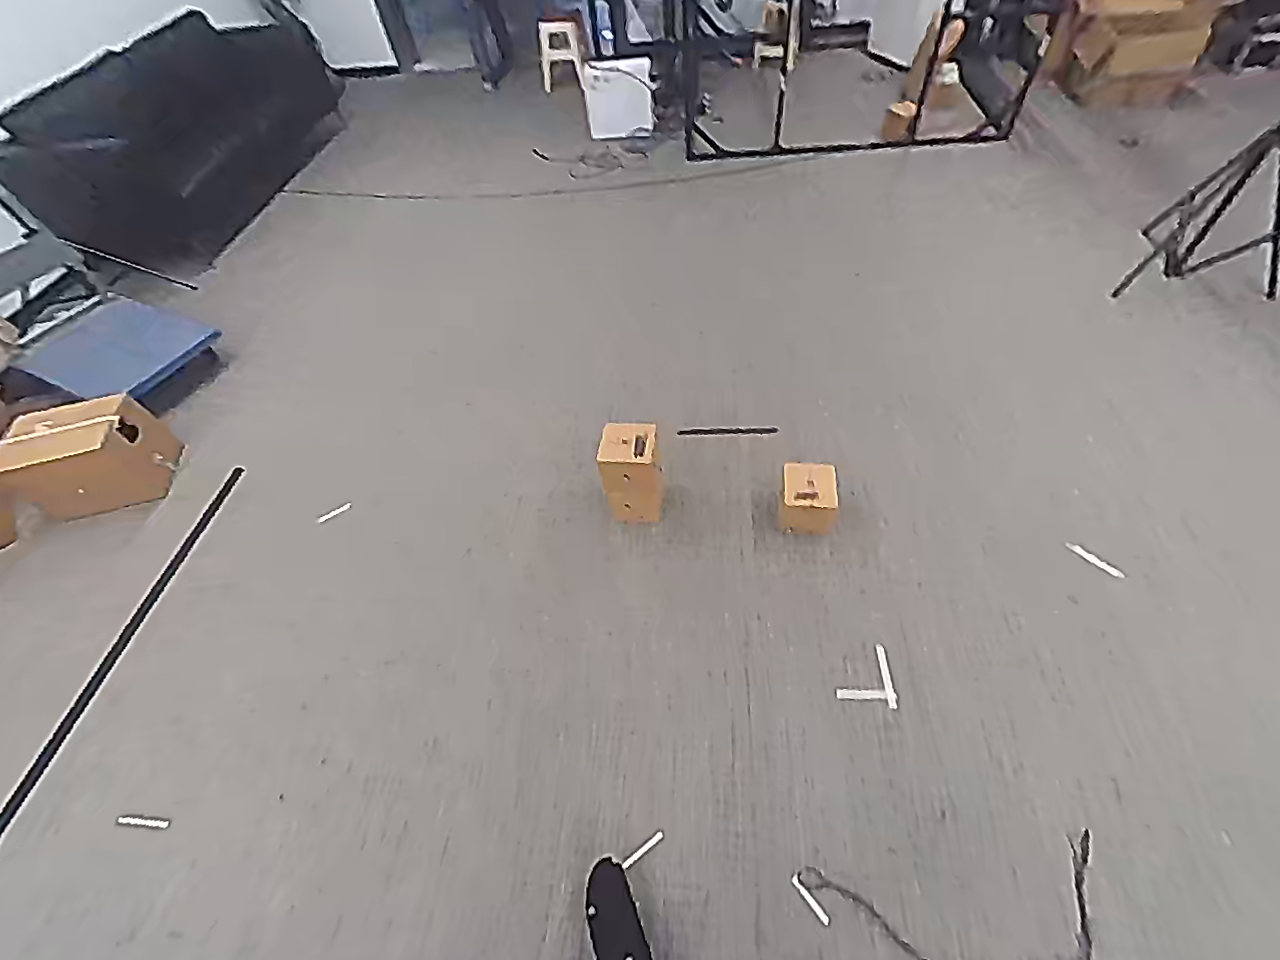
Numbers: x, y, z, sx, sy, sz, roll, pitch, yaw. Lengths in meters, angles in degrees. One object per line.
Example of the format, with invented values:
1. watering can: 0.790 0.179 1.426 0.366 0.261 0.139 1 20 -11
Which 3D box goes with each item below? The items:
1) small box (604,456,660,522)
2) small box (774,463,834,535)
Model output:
1. small box: -0.023 0.034 1.896 0.168 0.176 0.179 1 52 8
2. small box: 0.543 0.066 1.804 0.168 0.176 0.179 3 52 8
